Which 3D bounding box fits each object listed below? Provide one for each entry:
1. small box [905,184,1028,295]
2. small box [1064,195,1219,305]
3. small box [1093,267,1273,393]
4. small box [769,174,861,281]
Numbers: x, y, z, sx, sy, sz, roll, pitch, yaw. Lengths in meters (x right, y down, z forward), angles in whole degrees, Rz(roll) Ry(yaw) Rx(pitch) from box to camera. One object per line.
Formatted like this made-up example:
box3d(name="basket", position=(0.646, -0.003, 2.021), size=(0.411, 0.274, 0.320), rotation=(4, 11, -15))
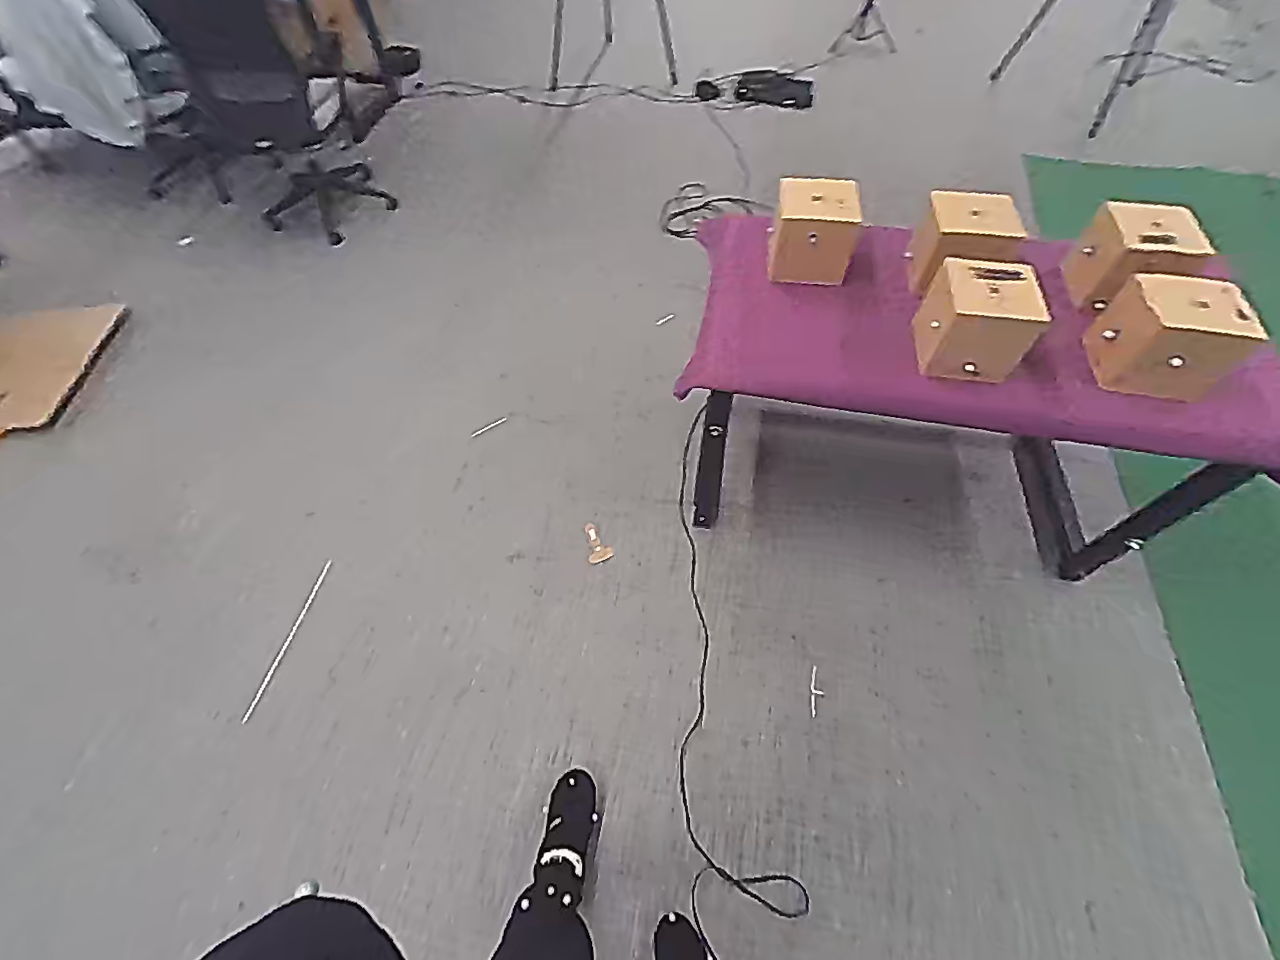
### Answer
box3d(name="small box", position=(0.736, -0.547, 1.239), size=(0.179, 0.176, 0.168), rotation=(6, 57, 7))
box3d(name="small box", position=(1.089, -0.498, 1.193), size=(0.168, 0.176, 0.179), rotation=(9, 56, 7))
box3d(name="small box", position=(1.039, -0.291, 1.061), size=(0.179, 0.176, 0.168), rotation=(9, 57, 9))
box3d(name="small box", position=(0.403, -0.593, 1.276), size=(0.179, 0.176, 0.168), rotation=(5, 58, 5))
